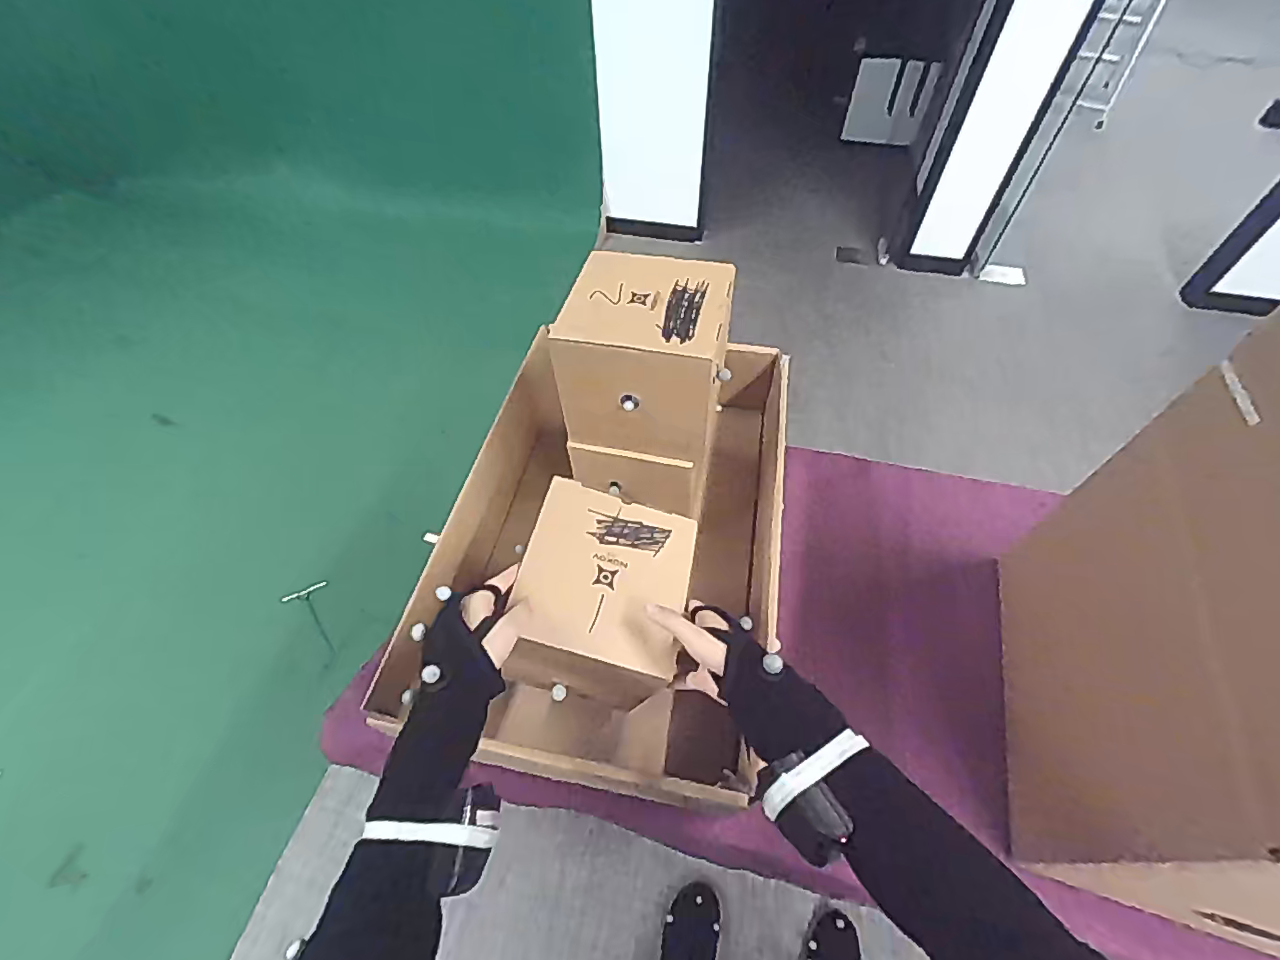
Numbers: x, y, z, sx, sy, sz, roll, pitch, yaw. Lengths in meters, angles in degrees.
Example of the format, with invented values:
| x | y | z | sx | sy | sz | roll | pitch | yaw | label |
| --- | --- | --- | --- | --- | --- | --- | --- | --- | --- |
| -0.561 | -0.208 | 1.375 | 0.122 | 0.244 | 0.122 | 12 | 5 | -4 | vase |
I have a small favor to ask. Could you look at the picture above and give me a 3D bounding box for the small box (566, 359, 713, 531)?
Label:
| x | y | z | sx | sy | sz | roll | pitch | yaw | label |
| --- | --- | --- | --- | --- | --- | --- | --- | --- | --- |
| 0.008 | -0.047 | 0.787 | 0.168 | 0.176 | 0.179 | 10 | 55 | 10 | small box |
